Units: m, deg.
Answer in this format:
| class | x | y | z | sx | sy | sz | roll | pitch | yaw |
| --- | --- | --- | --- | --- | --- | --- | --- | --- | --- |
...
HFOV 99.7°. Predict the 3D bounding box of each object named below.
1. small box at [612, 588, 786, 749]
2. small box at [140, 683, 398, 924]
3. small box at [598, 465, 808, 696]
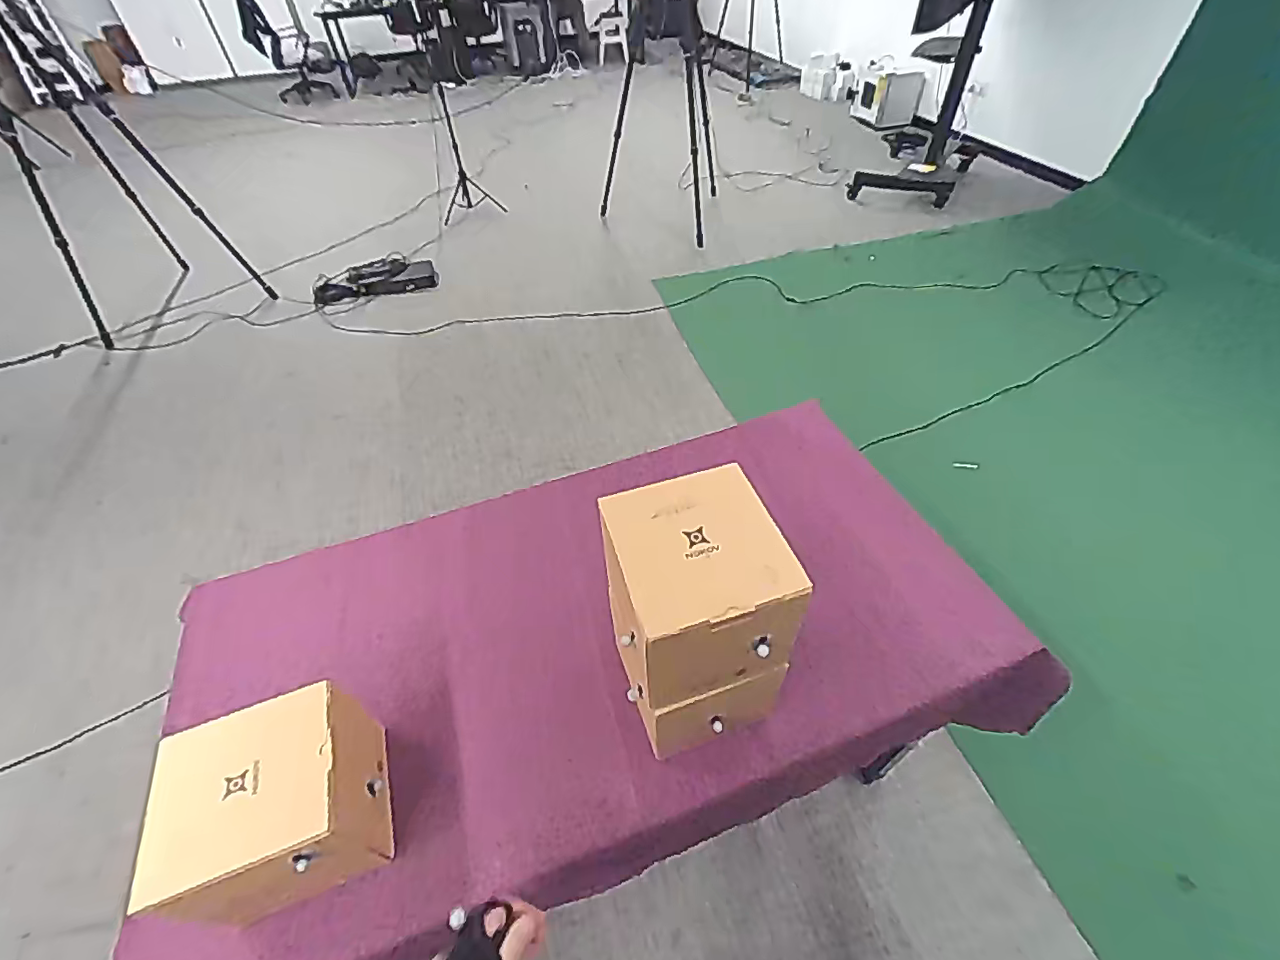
| class | x | y | z | sx | sy | sz | roll | pitch | yaw |
| --- | --- | --- | --- | --- | --- | --- | --- | --- | --- |
| small box | 0.071 | 0.231 | 0.715 | 0.168 | 0.176 | 0.179 | -16 | 48 | -11 |
| small box | -0.403 | 0.373 | 0.622 | 0.179 | 0.176 | 0.168 | -18 | 48 | -14 |
| small box | 0.061 | 0.117 | 0.599 | 0.168 | 0.176 | 0.179 | -15 | 47 | -10 |
